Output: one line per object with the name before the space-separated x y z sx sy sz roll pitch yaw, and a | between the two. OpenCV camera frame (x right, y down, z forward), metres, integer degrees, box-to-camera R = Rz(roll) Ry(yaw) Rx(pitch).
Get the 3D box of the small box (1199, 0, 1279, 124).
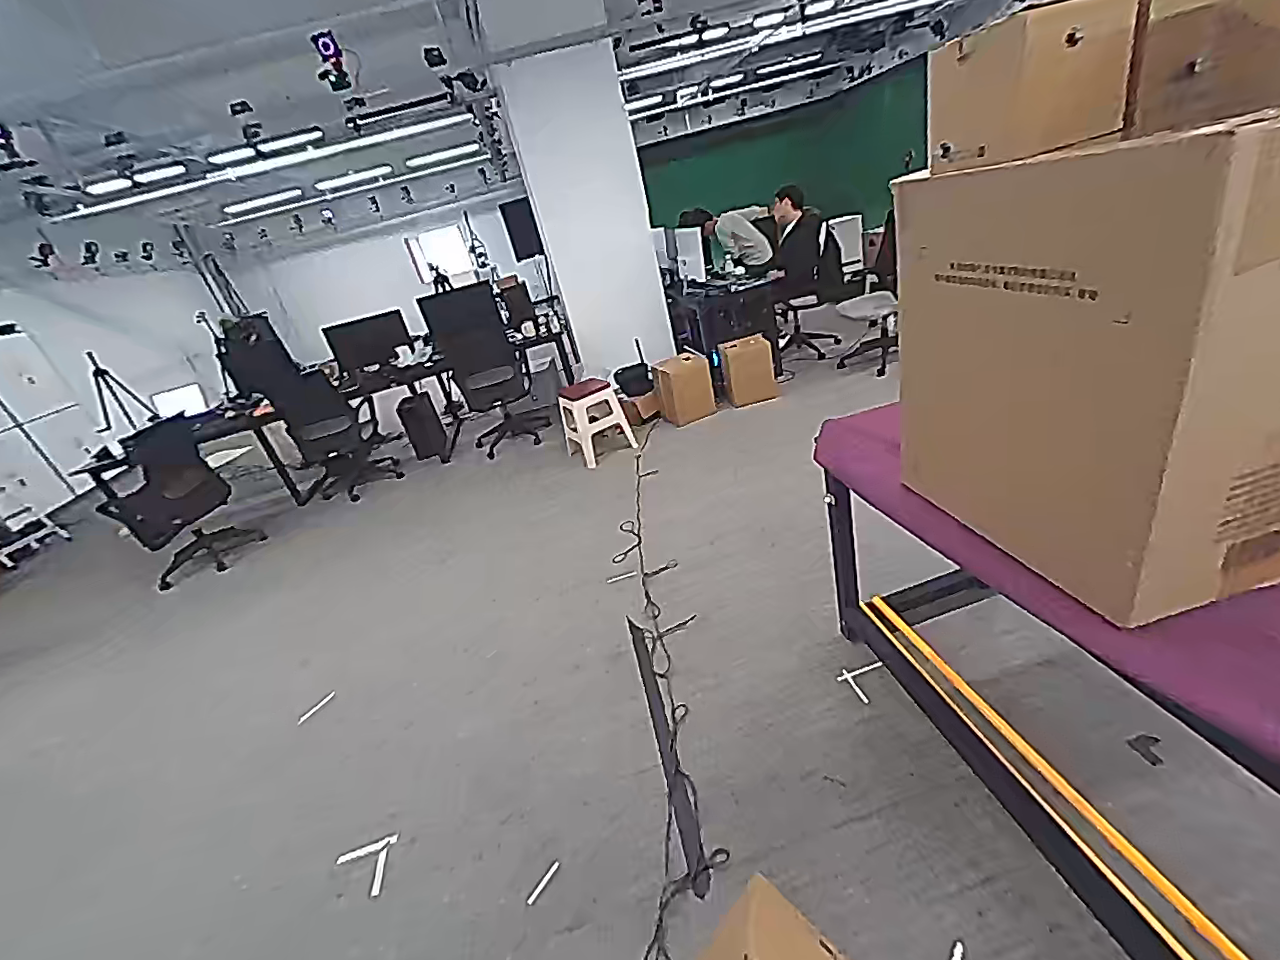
small box | 0.784 -0.520 0.591 0.168 0.176 0.179 -19 24 -8
